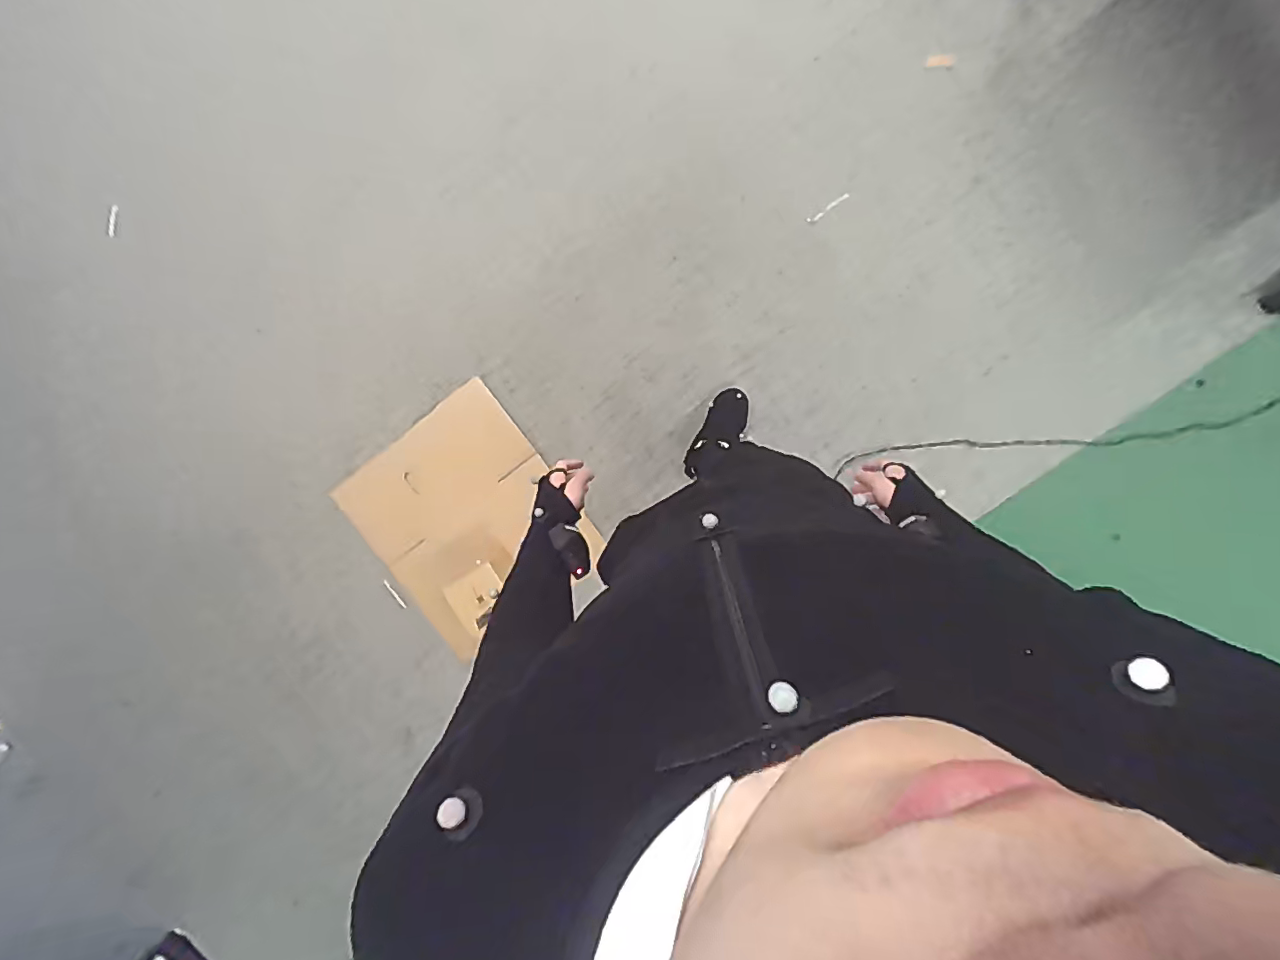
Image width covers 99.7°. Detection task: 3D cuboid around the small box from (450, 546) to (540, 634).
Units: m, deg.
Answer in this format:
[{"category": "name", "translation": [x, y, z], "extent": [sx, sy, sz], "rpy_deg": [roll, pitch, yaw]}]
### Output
[{"category": "small box", "translation": [-0.424, 0.321, 1.613], "extent": [0.168, 0.176, 0.179], "rpy_deg": [-32, 93, 6]}]
